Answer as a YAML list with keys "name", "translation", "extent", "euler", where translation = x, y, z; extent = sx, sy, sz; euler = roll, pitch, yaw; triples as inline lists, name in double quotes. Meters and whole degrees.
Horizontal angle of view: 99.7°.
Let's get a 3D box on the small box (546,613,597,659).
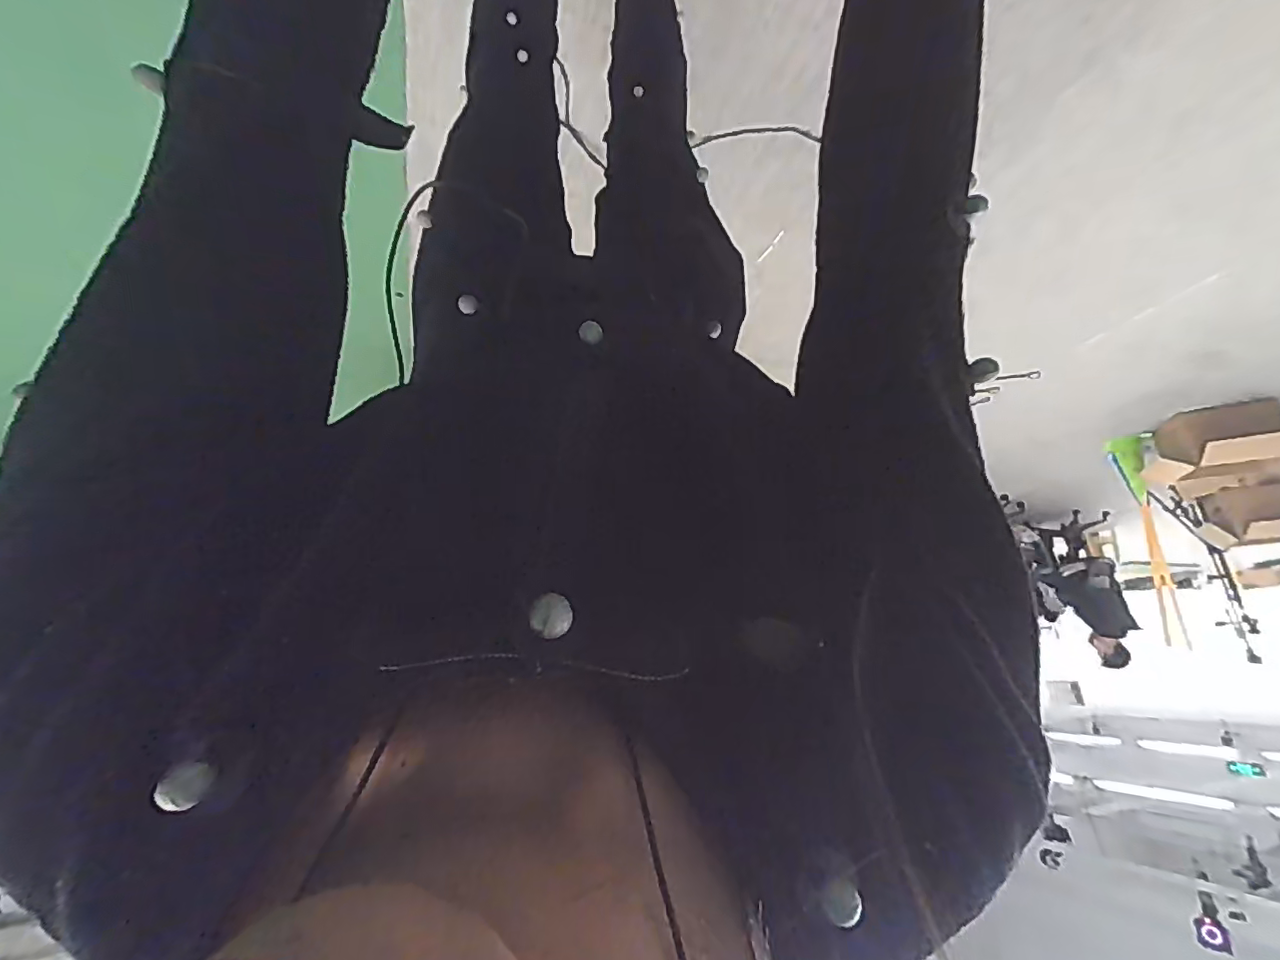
- name: "small box"
  translation: [-0.286, 0.646, 2.234]
  extent: [0.179, 0.176, 0.168]
  euler: [4, 158, -20]
